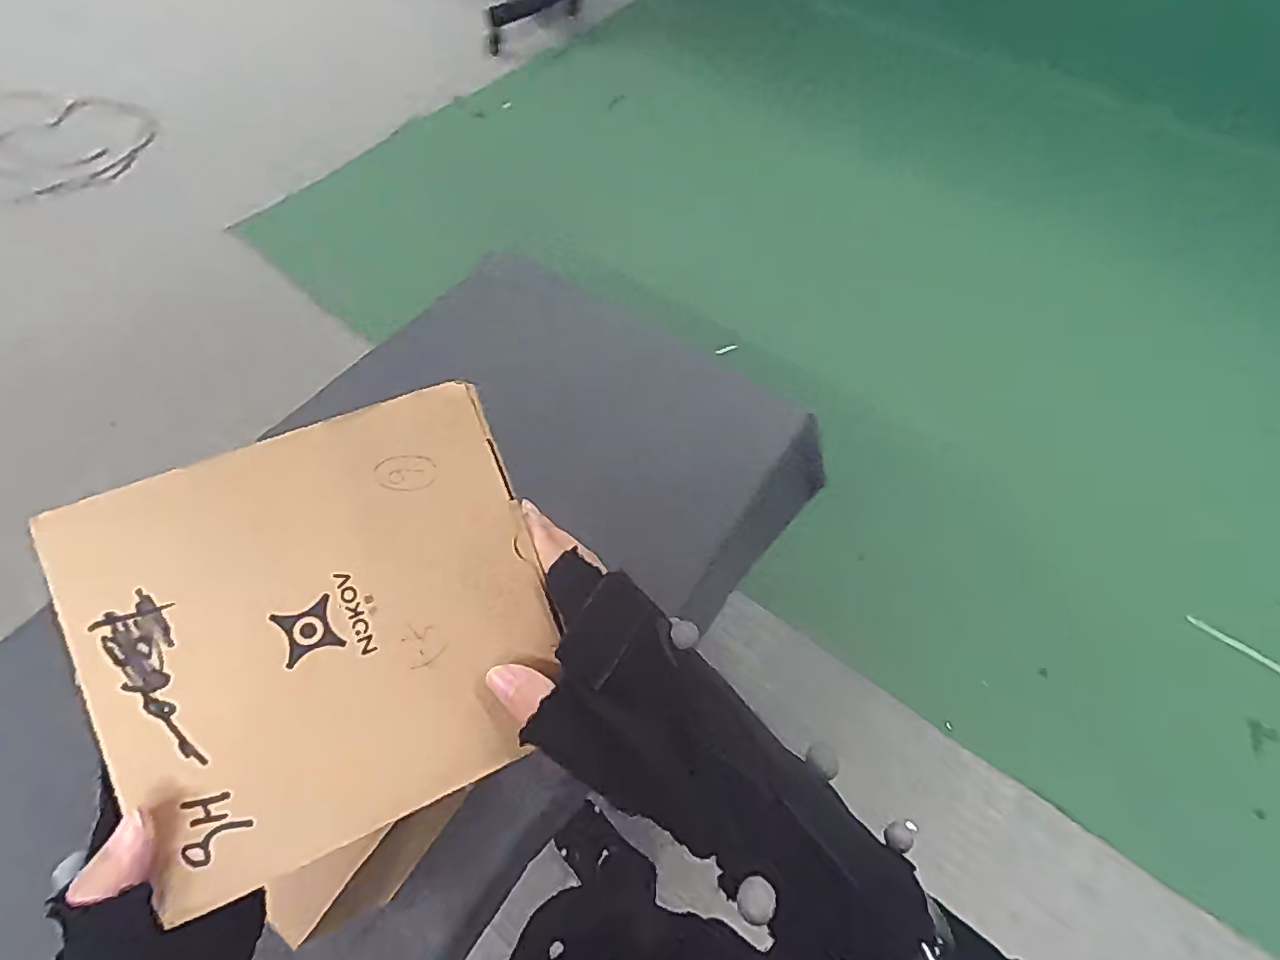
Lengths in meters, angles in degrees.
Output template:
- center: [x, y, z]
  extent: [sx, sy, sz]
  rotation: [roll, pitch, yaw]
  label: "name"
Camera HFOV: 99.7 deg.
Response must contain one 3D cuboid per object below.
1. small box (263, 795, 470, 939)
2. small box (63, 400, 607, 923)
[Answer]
- center: [-0.255, 0.264, 0.511]
  extent: [0.168, 0.176, 0.179]
  rotation: [31, 67, 15]
  label: "small box"
- center: [-0.136, 0.075, 0.305]
  extent: [0.179, 0.176, 0.168]
  rotation: [-20, 86, -13]
  label: "small box"
